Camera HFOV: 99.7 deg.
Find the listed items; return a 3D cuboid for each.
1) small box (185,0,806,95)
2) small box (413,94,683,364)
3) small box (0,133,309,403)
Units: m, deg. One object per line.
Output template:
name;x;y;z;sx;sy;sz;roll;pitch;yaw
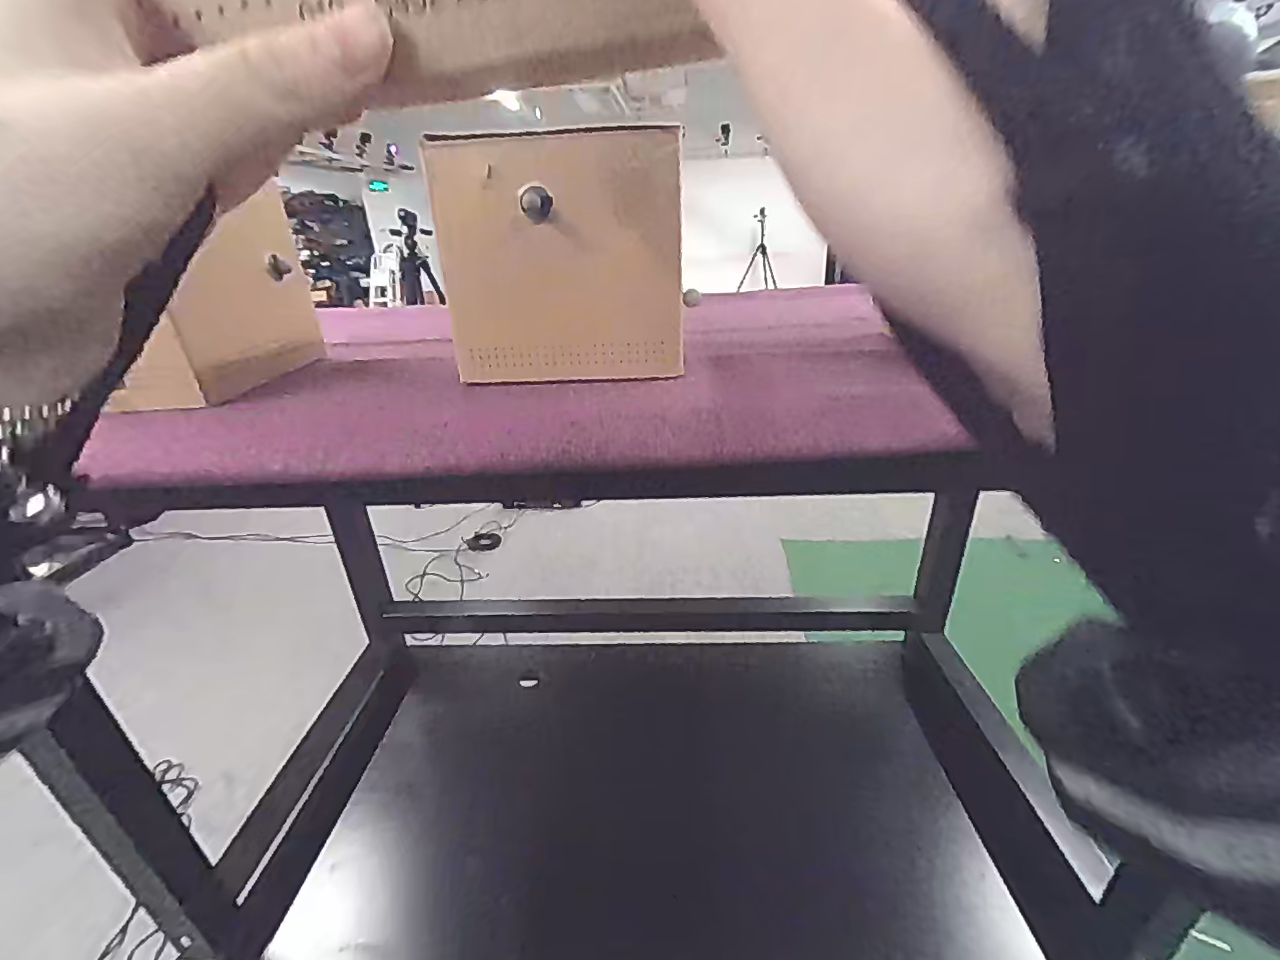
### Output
small box;-0.035;-0.213;0.139;0.168;0.176;0.179;-1;37;11
small box;-0.055;-0.195;0.449;0.179;0.176;0.168;-1;25;4
small box;-0.405;-0.169;0.438;0.168;0.176;0.179;-4;27;1
